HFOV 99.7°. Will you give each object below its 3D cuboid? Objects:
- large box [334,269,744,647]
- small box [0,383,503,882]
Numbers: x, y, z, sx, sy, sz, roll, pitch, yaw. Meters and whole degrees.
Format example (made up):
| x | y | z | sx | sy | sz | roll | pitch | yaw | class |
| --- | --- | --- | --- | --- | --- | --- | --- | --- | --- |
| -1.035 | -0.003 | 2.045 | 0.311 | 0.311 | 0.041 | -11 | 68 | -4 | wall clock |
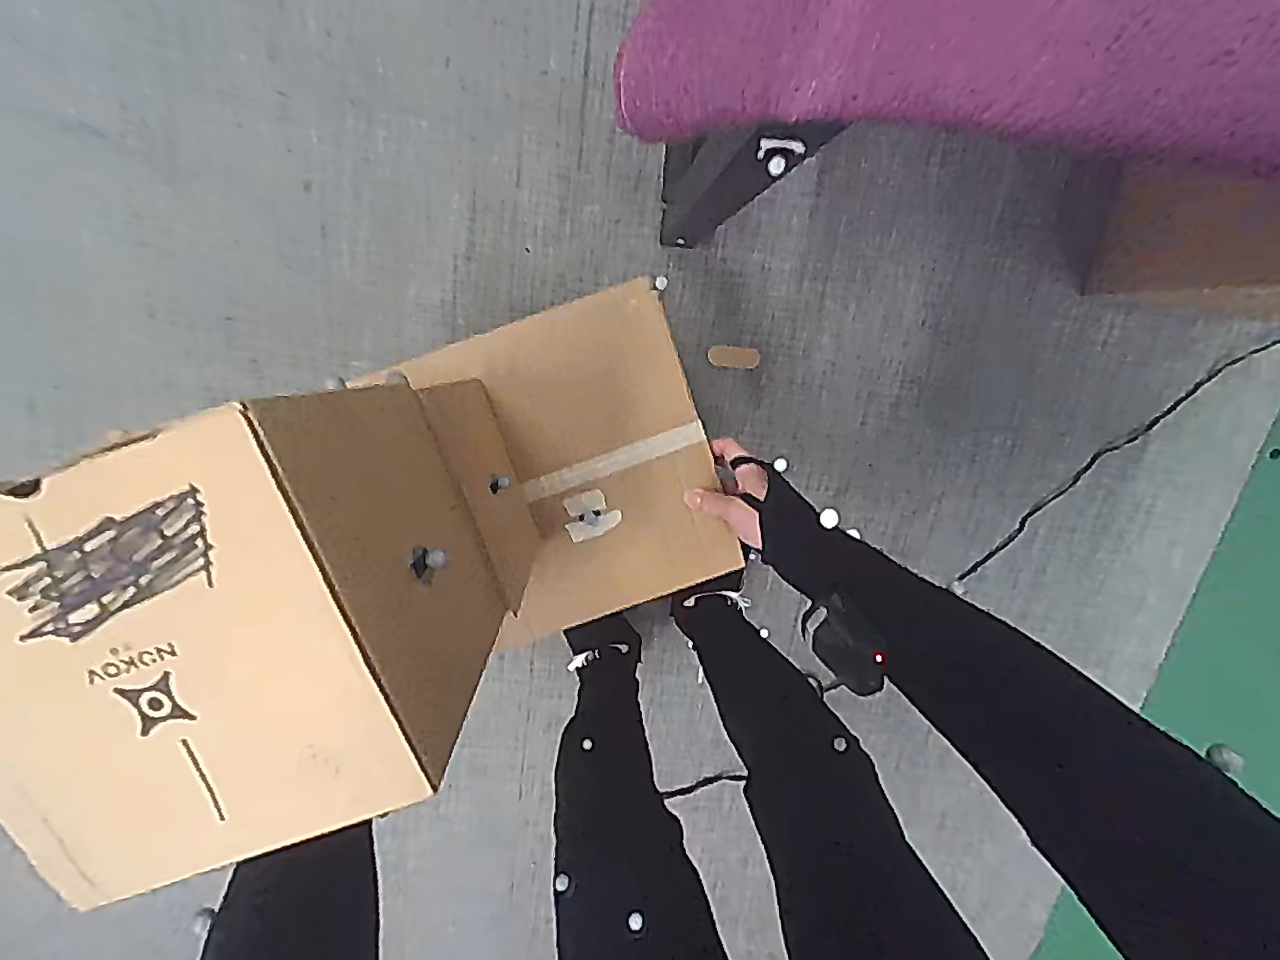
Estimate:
| x | y | z | sx | sy | sz | roll | pitch | yaw | class |
| --- | --- | --- | --- | --- | --- | --- | --- | --- | --- |
| -0.134 | -0.026 | 0.700 | 0.408 | 0.320 | 0.320 | -21 | 105 | 0 | large box |
| -0.192 | 0.053 | 0.293 | 0.168 | 0.176 | 0.179 | -18 | 104 | 1 | small box |
